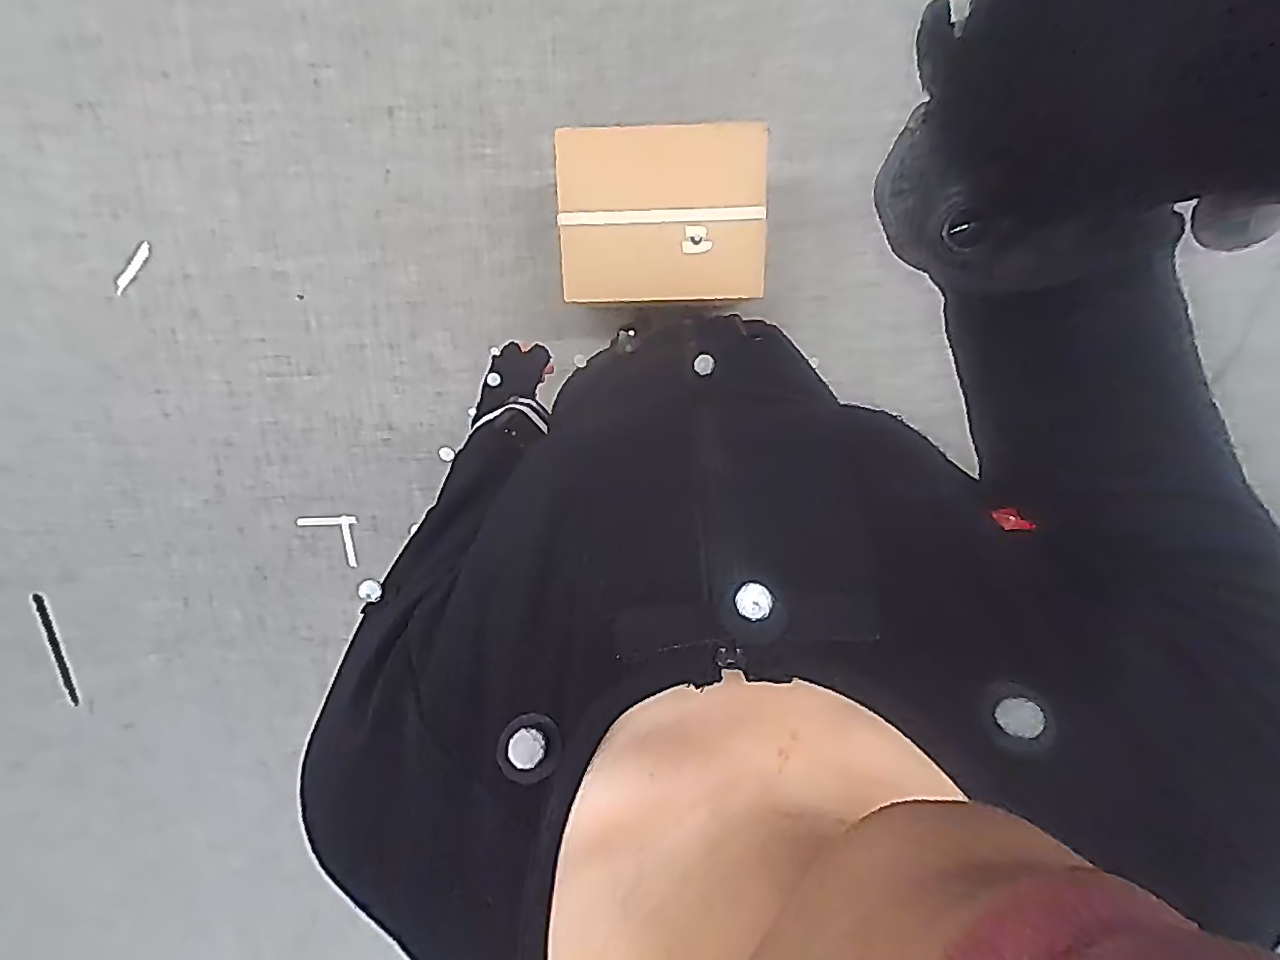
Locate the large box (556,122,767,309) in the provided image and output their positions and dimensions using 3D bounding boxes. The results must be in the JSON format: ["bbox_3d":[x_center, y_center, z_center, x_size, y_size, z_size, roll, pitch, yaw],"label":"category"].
[{"bbox_3d":[0.044,-0.554,1.196,0.408,0.320,0.320,-1,106,1],"label":"large box"}]
